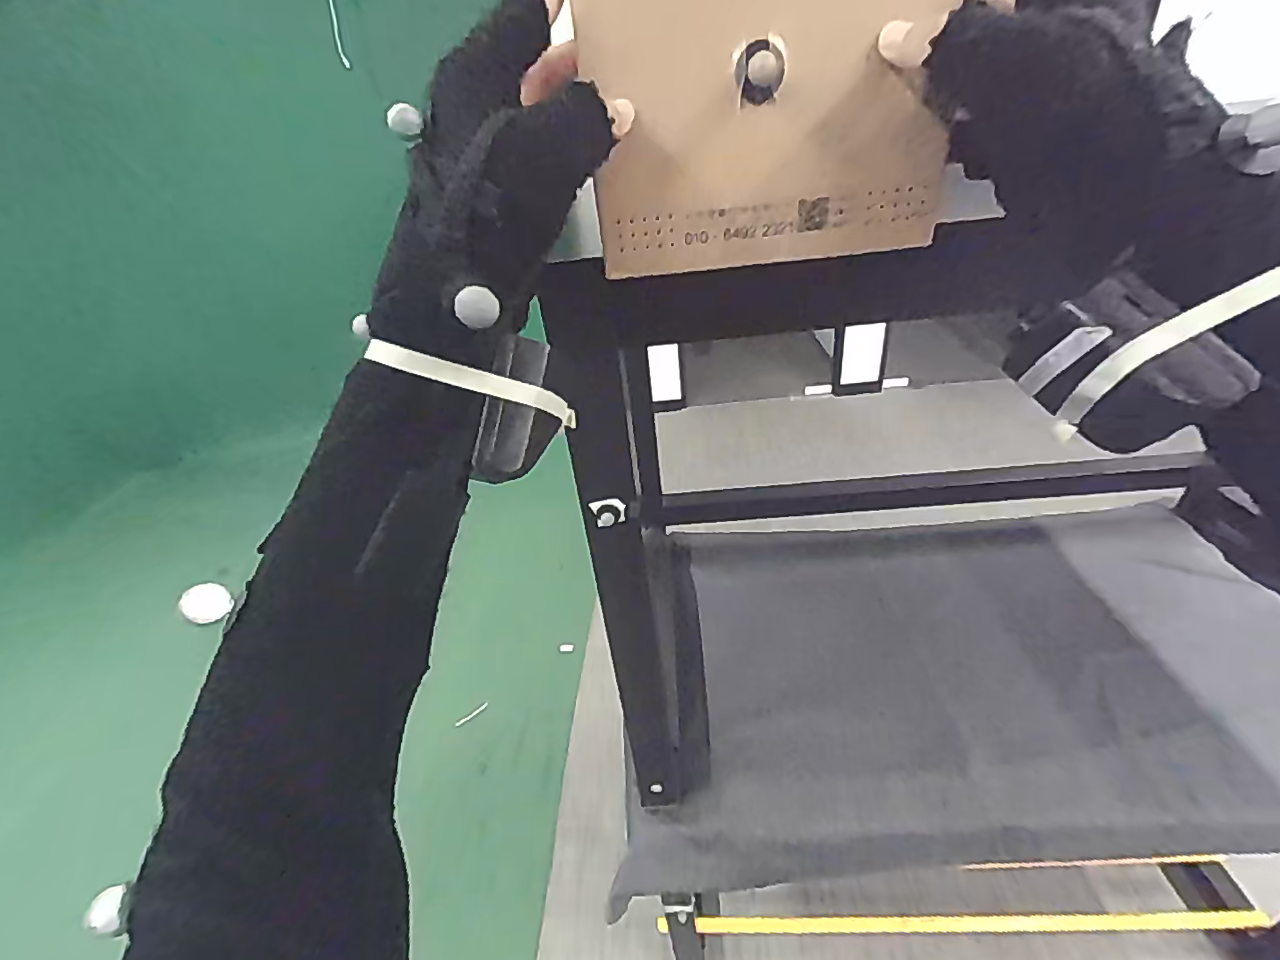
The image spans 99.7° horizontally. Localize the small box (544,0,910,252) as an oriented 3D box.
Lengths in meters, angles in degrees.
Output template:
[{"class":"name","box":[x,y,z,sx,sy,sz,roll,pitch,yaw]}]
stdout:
[{"class":"small box","box":[0.043,-0.237,0.313,0.168,0.176,0.179,-4,32,3]}]
